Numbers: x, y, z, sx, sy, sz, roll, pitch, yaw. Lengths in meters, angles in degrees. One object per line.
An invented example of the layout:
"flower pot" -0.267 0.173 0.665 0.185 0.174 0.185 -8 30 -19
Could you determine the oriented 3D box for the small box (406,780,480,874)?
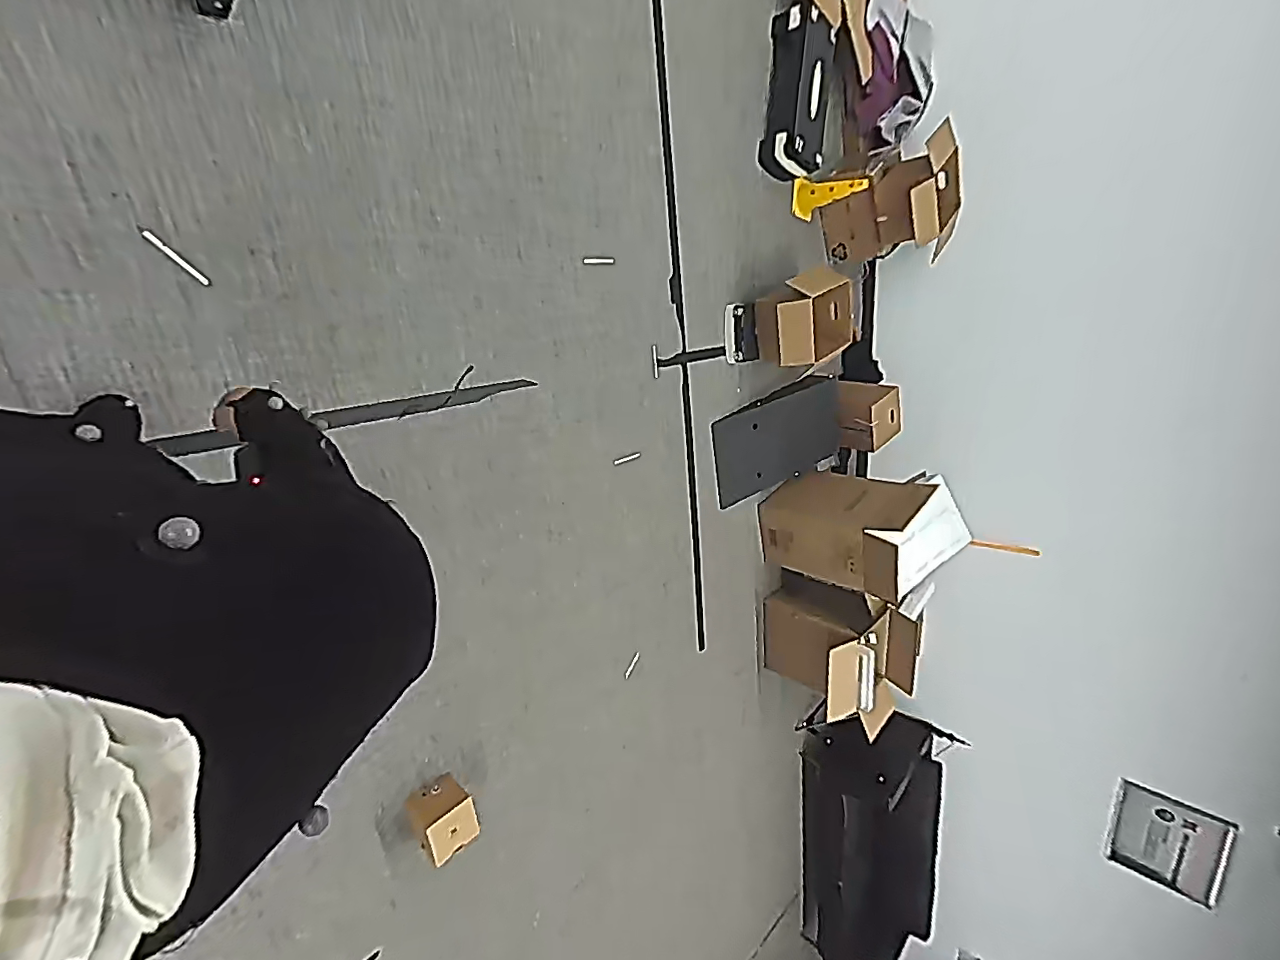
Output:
"small box" -0.674 1.177 1.850 0.168 0.176 0.179 -23 115 -43
